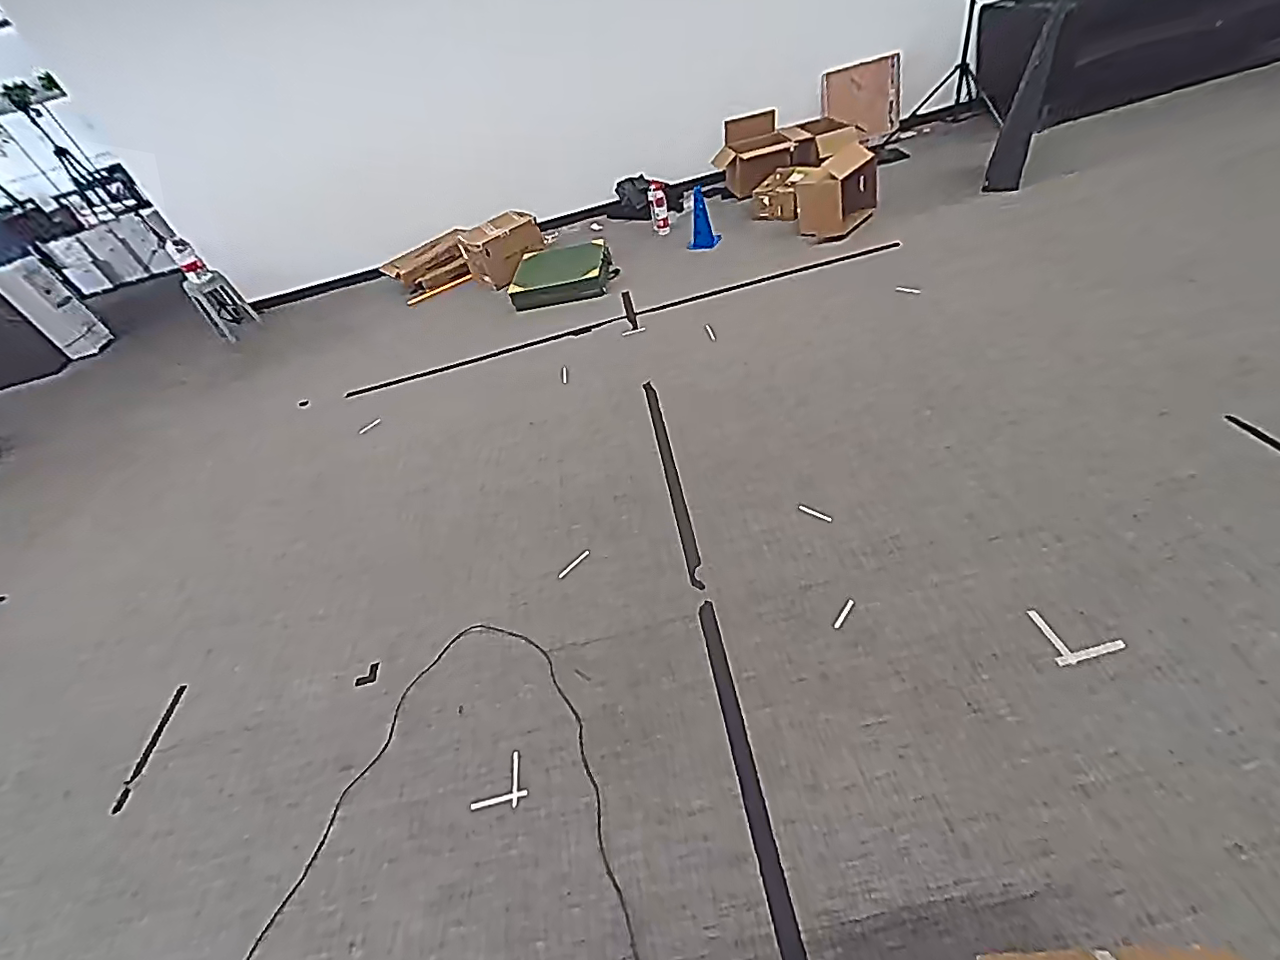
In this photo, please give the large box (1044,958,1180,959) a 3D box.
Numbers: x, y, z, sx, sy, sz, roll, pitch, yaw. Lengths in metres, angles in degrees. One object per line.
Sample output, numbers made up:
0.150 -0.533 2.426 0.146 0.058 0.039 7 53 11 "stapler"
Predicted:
0.585 0.750 0.489 0.320 0.408 0.320 -9 82 8 "large box"
